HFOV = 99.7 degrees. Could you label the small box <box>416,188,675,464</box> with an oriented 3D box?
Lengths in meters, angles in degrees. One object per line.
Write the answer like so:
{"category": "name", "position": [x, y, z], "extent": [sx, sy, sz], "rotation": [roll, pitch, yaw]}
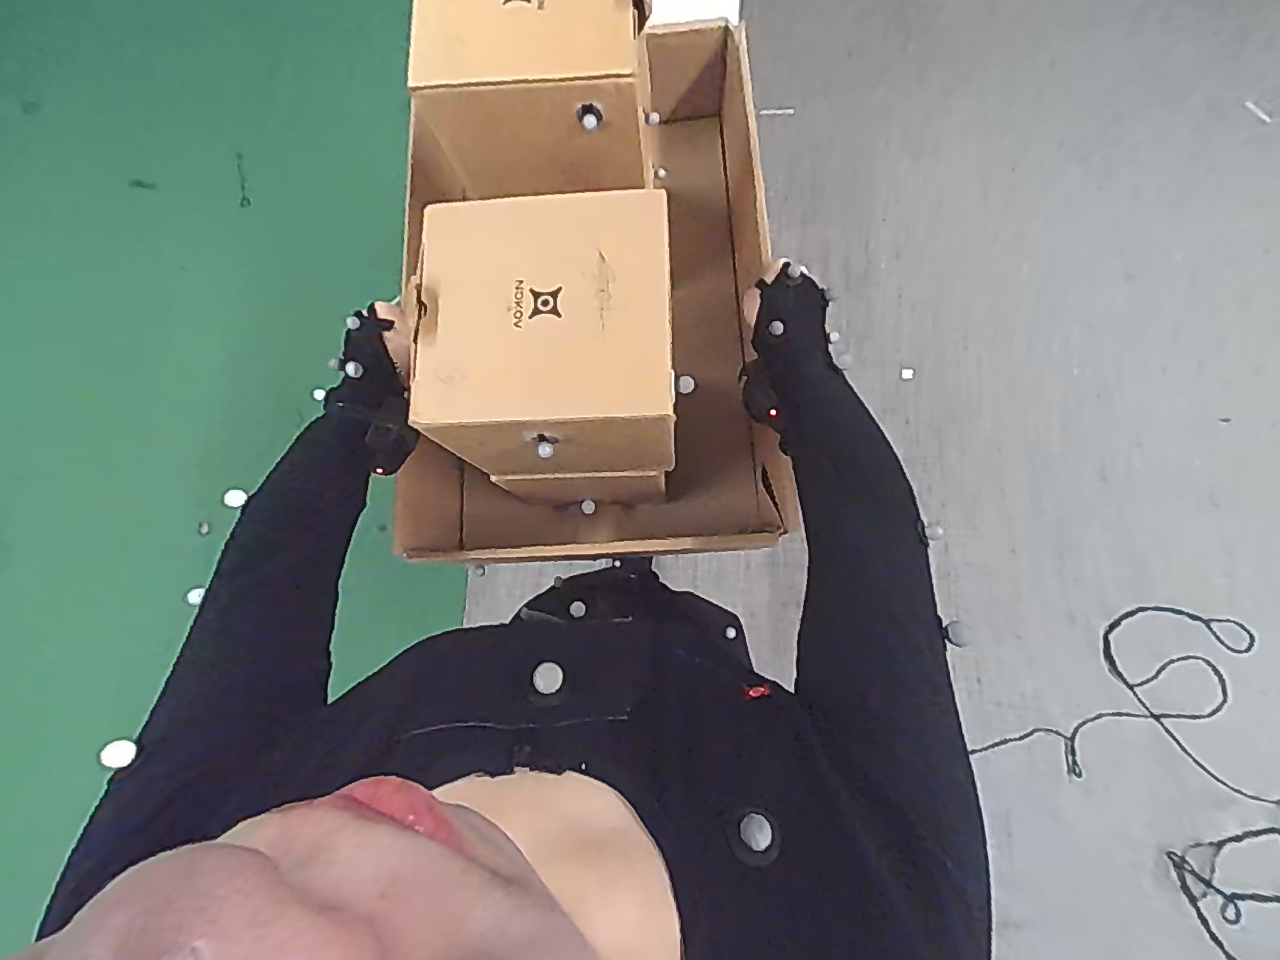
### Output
{"category": "small box", "position": [-0.060, -0.110, 0.451], "extent": [0.179, 0.176, 0.168], "rotation": [-1, 80, 3]}

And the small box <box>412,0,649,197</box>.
{"category": "small box", "position": [-0.083, -0.368, 0.499], "extent": [0.179, 0.176, 0.168], "rotation": [-1, 80, 3]}
